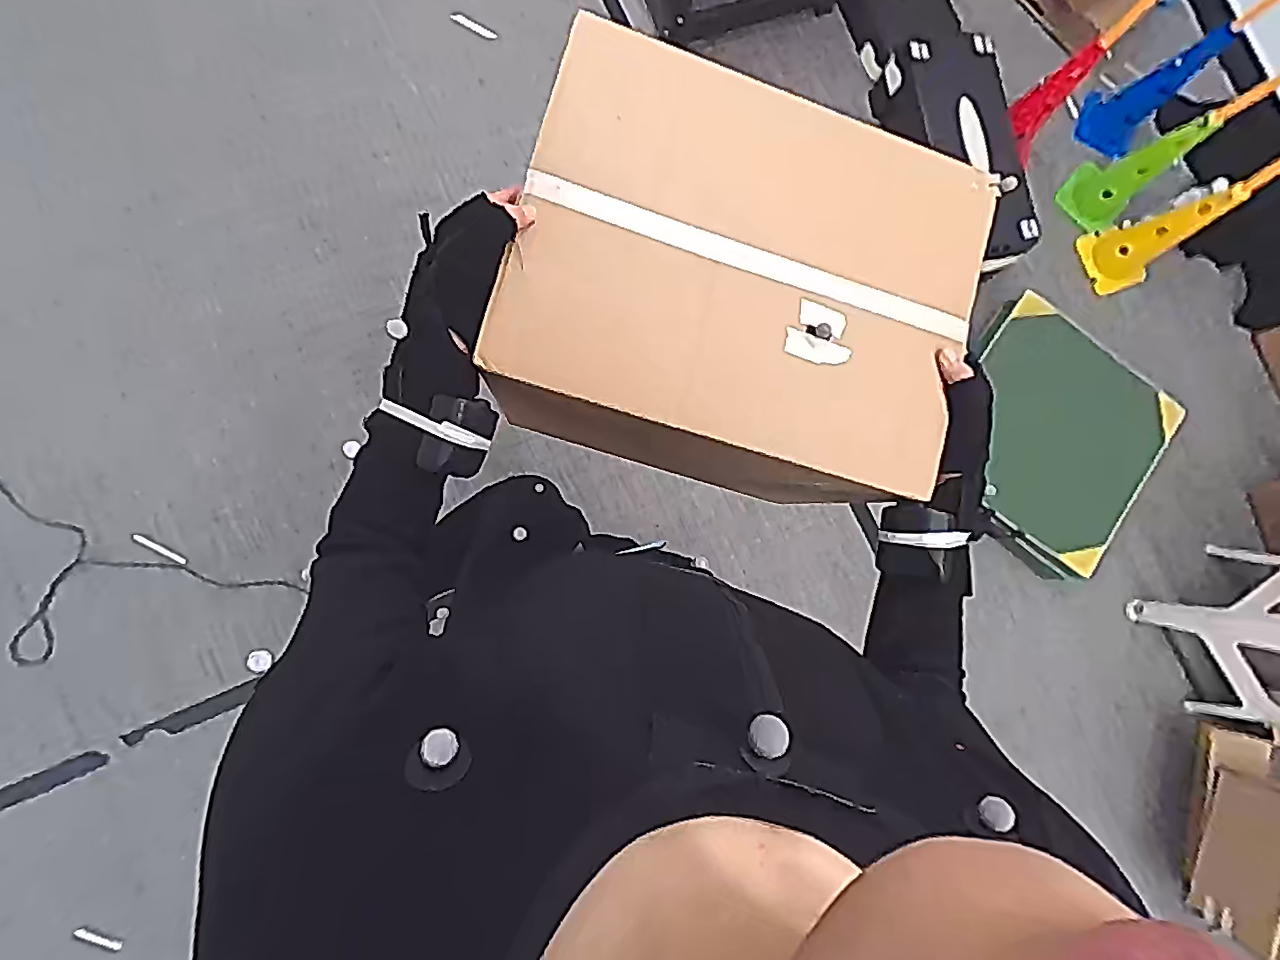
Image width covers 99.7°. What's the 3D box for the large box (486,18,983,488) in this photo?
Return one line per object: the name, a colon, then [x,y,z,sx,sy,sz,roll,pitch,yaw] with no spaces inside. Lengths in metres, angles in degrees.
large box: [0.075,-0.190,0.619,0.408,0.320,0.320,16,86,-9]
